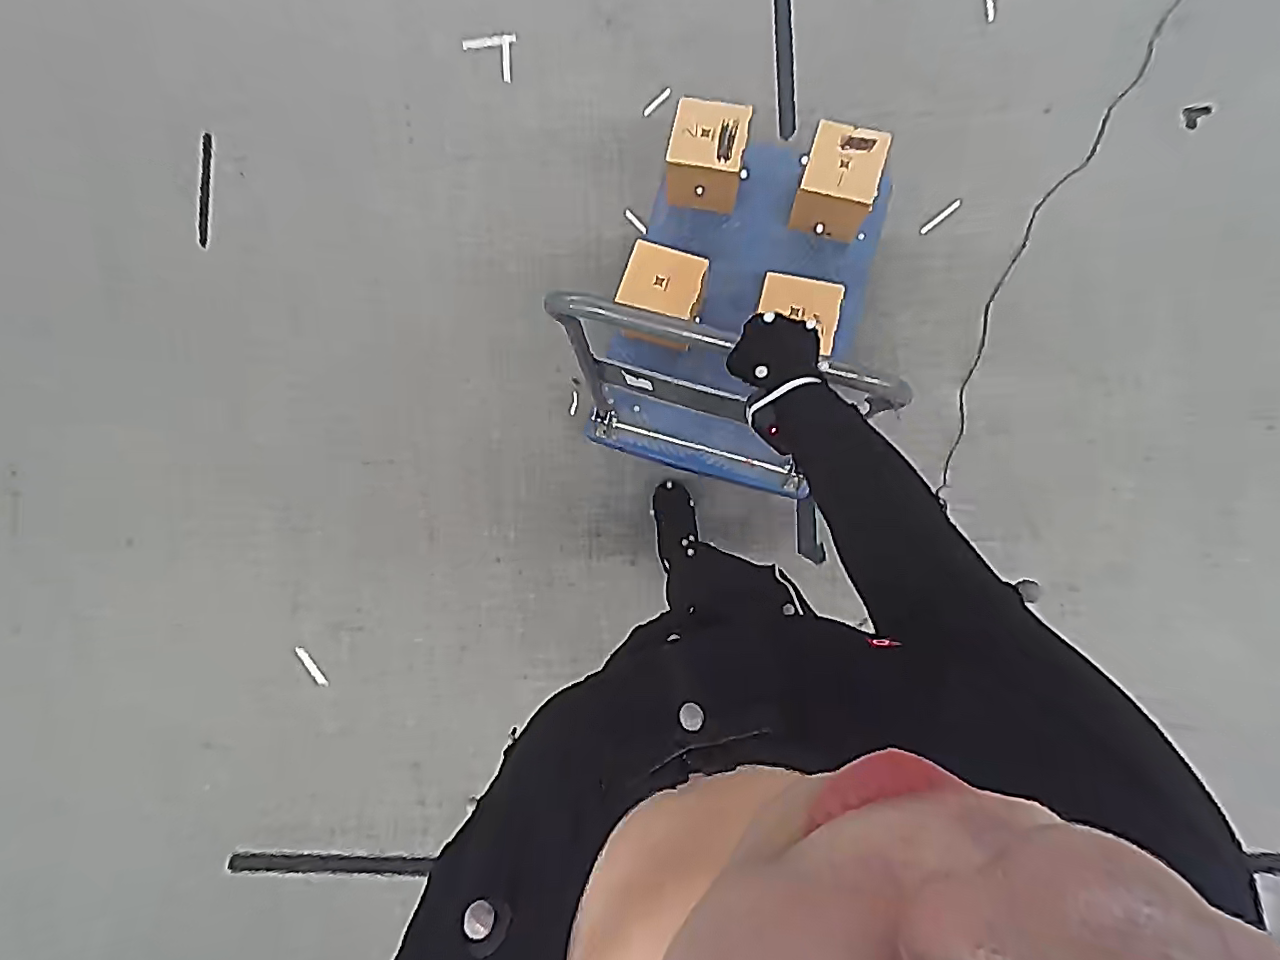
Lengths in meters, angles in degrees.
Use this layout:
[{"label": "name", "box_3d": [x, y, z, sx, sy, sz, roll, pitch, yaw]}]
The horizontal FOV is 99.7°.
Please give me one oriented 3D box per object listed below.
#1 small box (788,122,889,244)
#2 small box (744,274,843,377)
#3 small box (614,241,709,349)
[{"label": "small box", "box_3d": [0.468, -0.705, 1.298, 0.168, 0.176, 0.179, 17, 86, 6]}, {"label": "small box", "box_3d": [0.350, -0.354, 1.266, 0.179, 0.176, 0.168, 14, 85, 6]}, {"label": "small box", "box_3d": [0.052, -0.435, 1.300, 0.179, 0.176, 0.168, 19, 84, 5]}]
